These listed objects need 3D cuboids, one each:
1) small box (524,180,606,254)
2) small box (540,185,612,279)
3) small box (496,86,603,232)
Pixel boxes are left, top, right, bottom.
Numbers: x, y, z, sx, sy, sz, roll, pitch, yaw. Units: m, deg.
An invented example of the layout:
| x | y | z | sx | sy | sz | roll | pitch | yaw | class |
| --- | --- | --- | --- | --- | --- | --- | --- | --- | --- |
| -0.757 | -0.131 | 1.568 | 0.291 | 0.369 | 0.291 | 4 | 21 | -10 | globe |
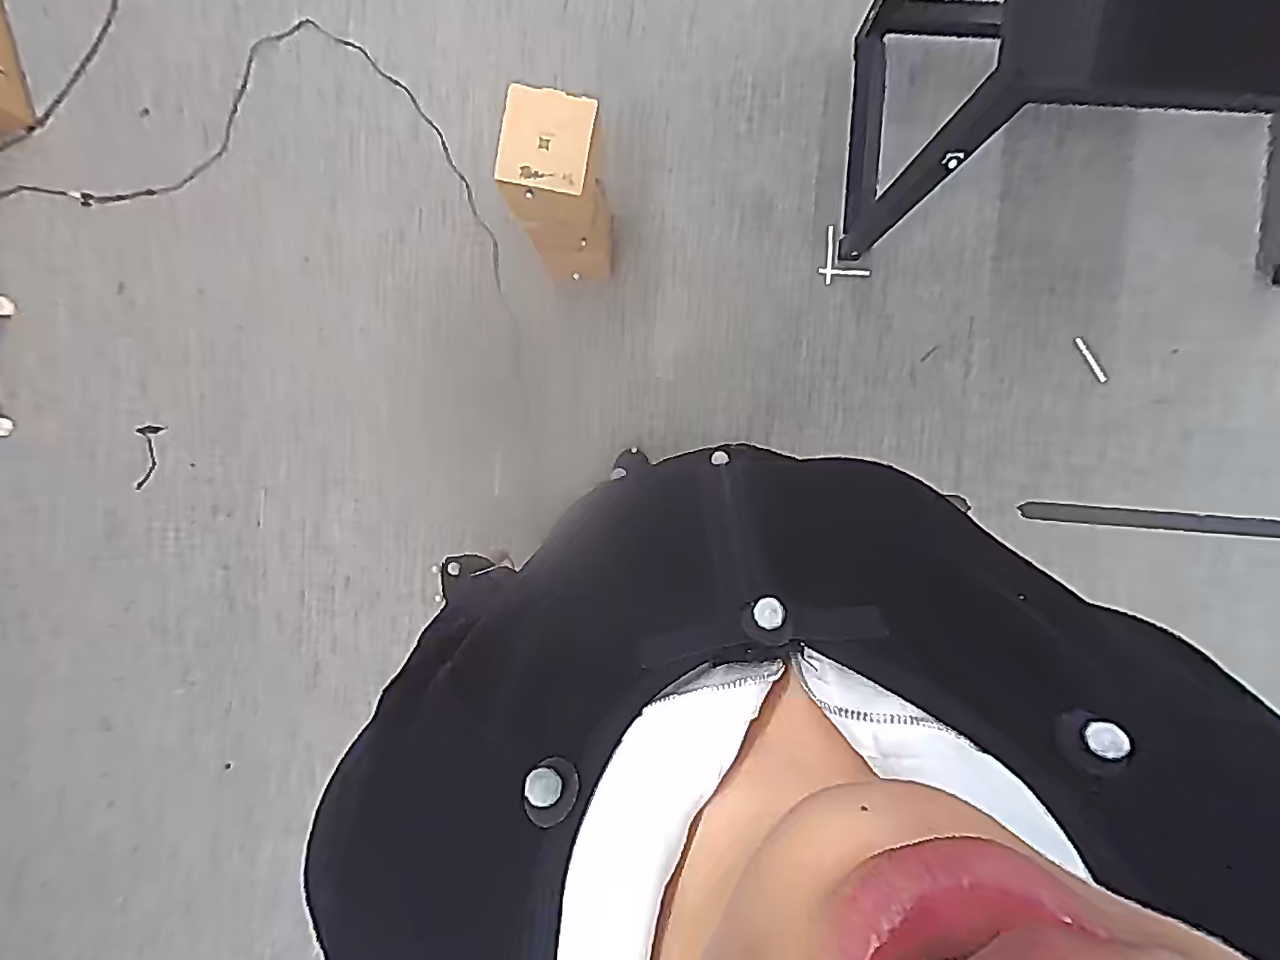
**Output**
| x | y | z | sx | sy | sz | roll | pitch | yaw | class |
| --- | --- | --- | --- | --- | --- | --- | --- | --- | --- |
| -0.169 | -0.631 | 1.232 | 0.168 | 0.176 | 0.179 | -4 | 91 | 1 | small box |
| -0.162 | -0.633 | 1.394 | 0.168 | 0.176 | 0.179 | 0 | 94 | 2 | small box |
| -0.170 | -0.623 | 1.068 | 0.168 | 0.176 | 0.179 | 11 | 92 | 1 | small box |
